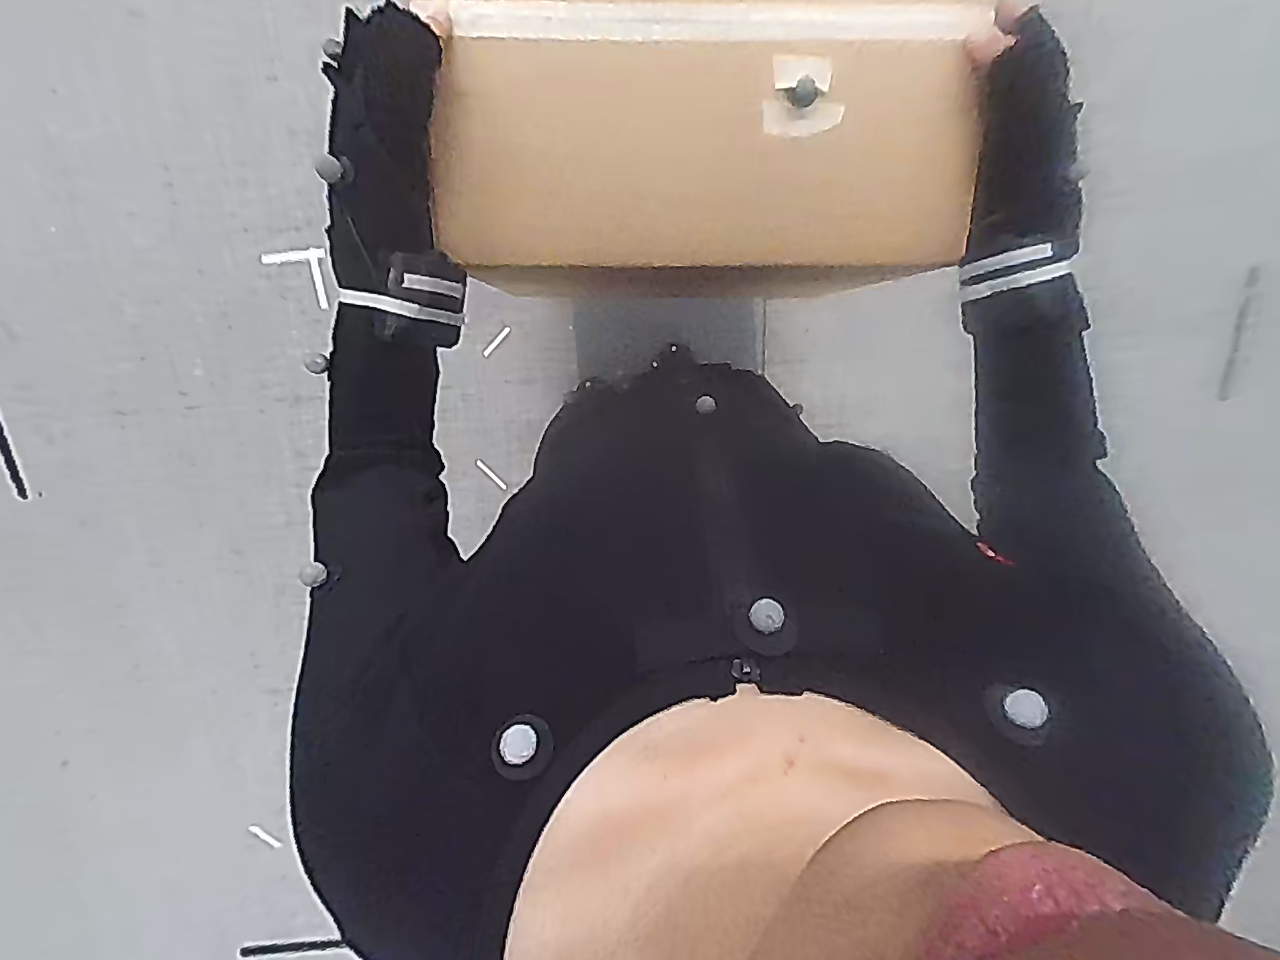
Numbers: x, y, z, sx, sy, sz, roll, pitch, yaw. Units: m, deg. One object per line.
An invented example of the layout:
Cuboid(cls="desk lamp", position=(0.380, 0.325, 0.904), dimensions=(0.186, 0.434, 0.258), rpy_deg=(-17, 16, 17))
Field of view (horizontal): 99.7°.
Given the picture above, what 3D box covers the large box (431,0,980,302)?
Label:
Cuboid(cls="large box", position=(0.041, -0.356, 0.538), dimensions=(0.408, 0.320, 0.320), rpy_deg=(-1, 104, -3))
